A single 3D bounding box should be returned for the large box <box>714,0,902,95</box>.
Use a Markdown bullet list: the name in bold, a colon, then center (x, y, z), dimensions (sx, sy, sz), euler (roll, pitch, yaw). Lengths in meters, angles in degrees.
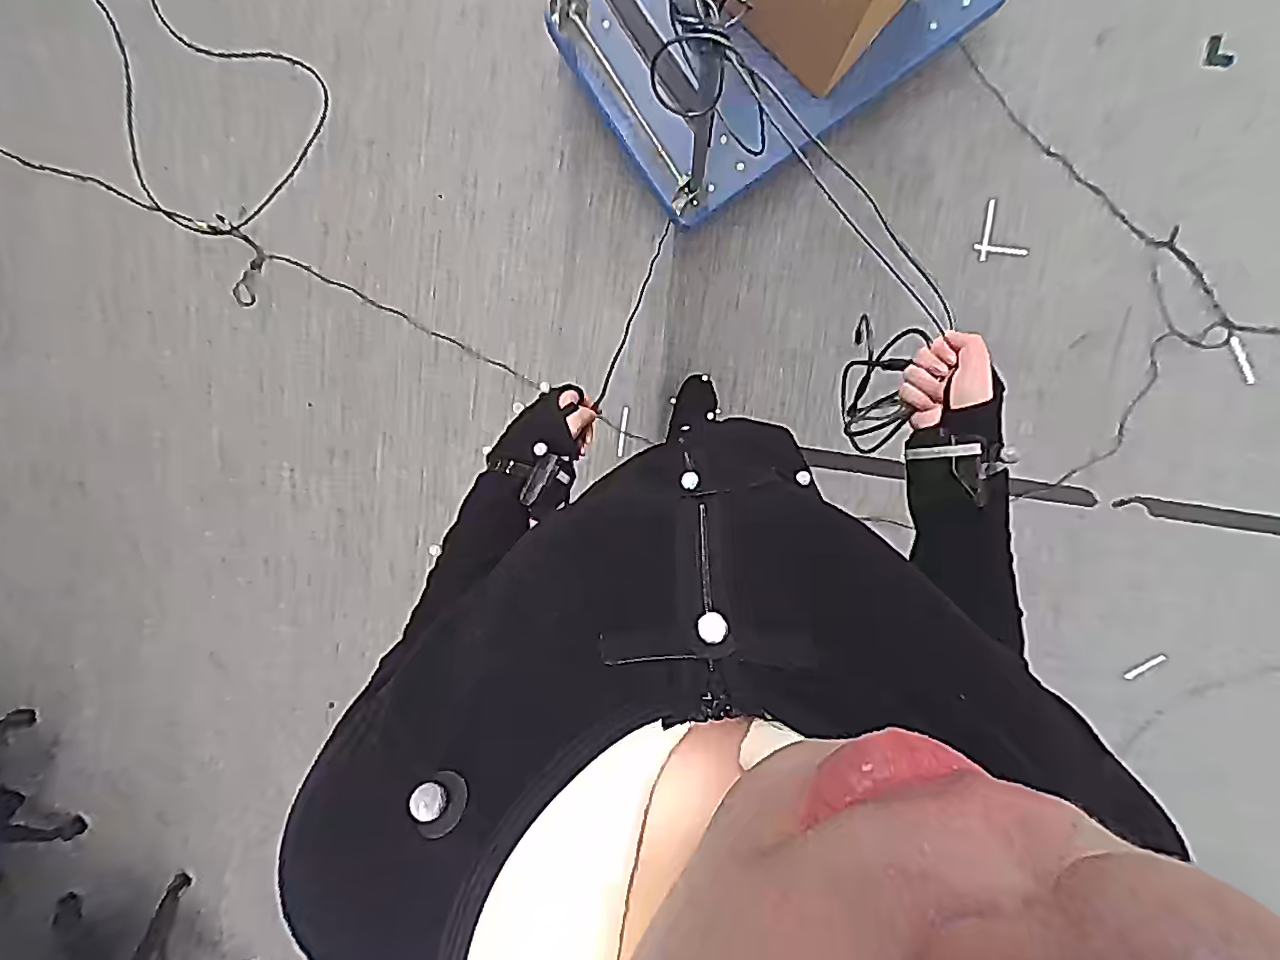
- **large box**: center (0.342, -1.069, 1.025), dimensions (0.408, 0.320, 0.320), euler (41, 97, -4)
